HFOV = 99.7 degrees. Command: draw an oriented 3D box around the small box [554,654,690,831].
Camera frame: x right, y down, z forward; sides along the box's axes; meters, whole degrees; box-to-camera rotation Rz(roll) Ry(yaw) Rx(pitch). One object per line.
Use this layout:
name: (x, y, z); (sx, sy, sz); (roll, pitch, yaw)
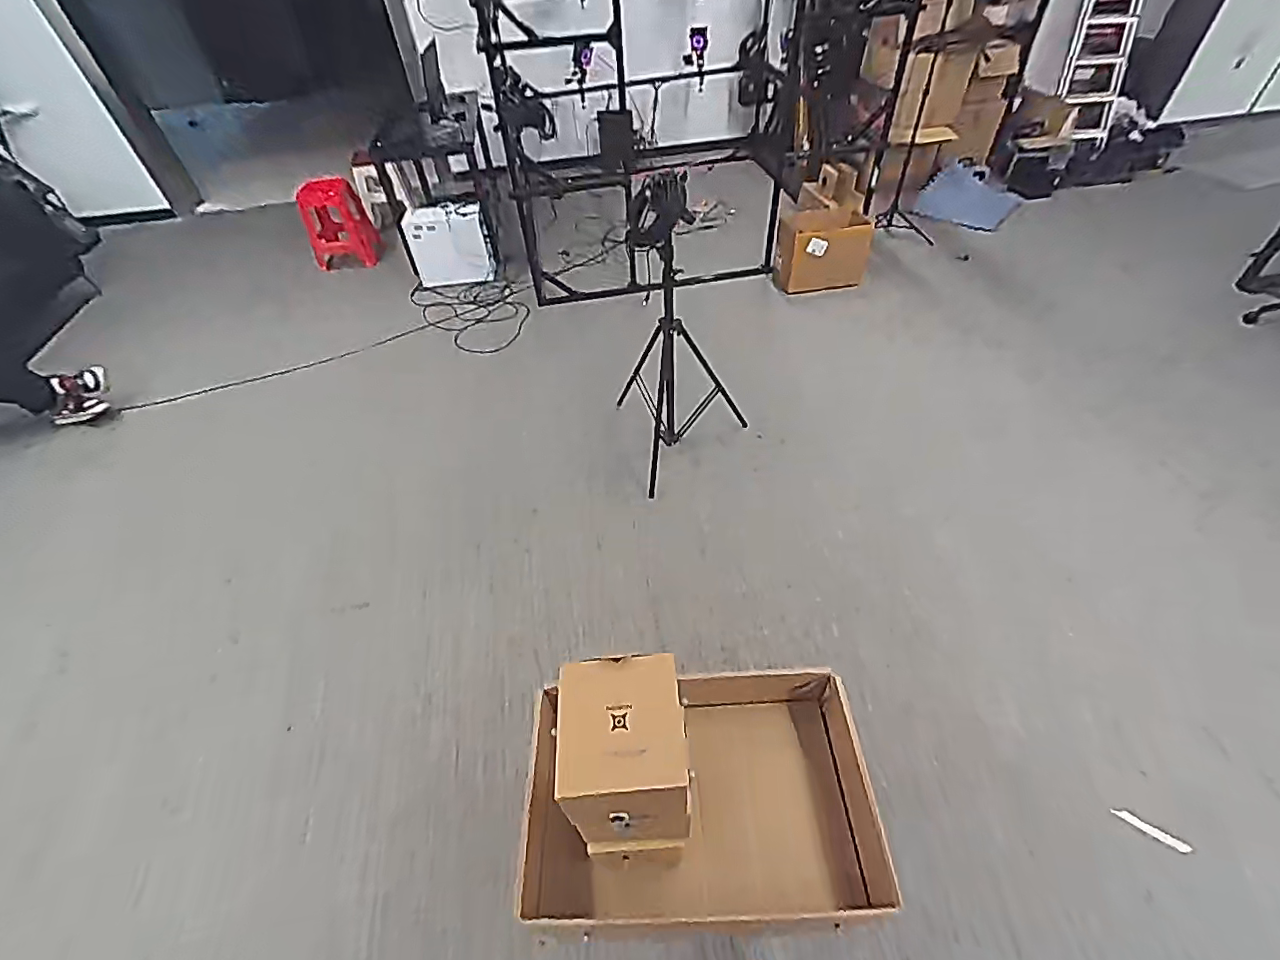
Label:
small box: (-0.022, 0.369, 0.761); (0.168, 0.176, 0.179); (-5, 46, 0)

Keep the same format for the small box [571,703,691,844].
small box: (-0.010, 0.480, 0.881); (0.179, 0.176, 0.168); (-2, 46, 0)

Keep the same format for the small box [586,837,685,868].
small box: (-0.006, 0.599, 0.995); (0.168, 0.176, 0.179); (-3, 46, -1)
